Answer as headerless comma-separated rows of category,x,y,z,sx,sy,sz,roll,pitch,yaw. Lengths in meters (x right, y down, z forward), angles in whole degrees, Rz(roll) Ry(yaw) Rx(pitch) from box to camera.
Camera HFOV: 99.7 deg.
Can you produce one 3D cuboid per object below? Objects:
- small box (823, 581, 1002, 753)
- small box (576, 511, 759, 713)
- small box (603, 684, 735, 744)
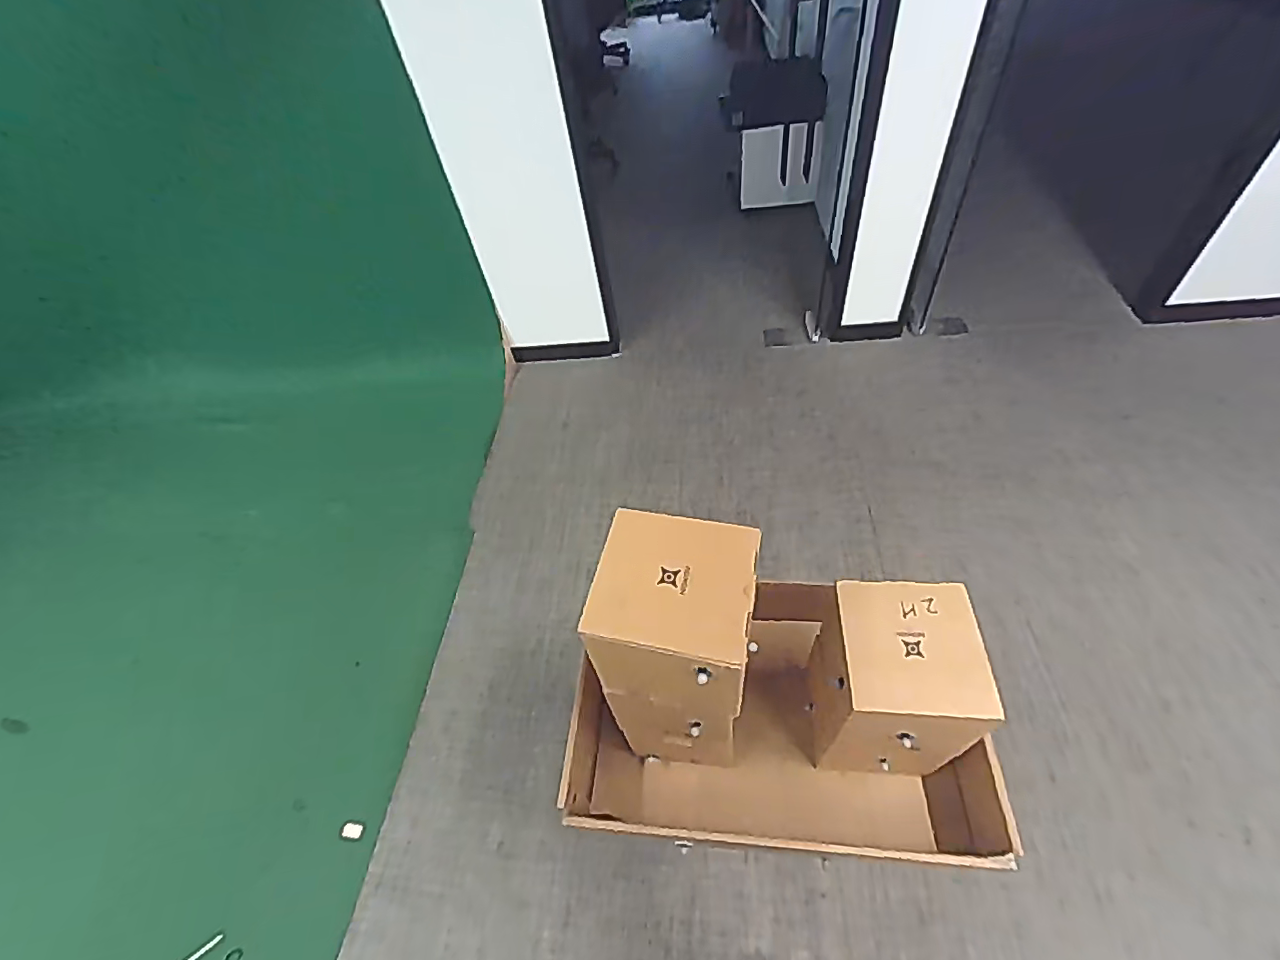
small box,0.348,0.255,0.731,0.168,0.176,0.179,0,51,10
small box,0.042,0.161,0.653,0.179,0.176,0.168,8,52,13
small box,0.057,0.261,0.781,0.168,0.176,0.179,5,51,12
